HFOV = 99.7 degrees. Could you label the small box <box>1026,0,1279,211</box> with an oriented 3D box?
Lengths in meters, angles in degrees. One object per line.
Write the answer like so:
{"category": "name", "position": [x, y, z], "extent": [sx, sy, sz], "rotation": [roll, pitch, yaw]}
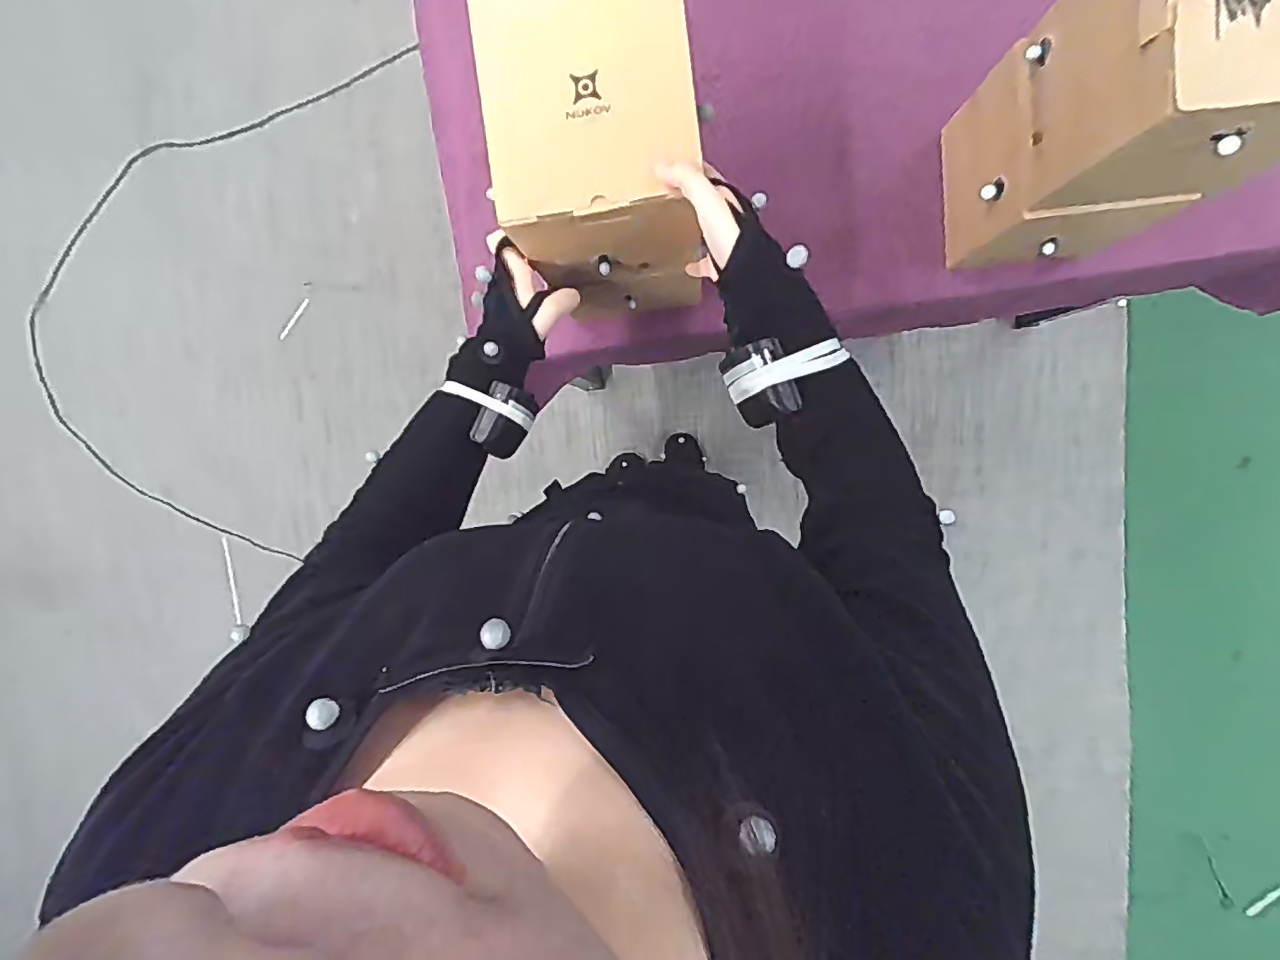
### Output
{"category": "small box", "position": [0.459, -0.344, 0.451], "extent": [0.179, 0.176, 0.168], "rotation": [-3, 95, 4]}

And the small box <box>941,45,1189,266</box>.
{"category": "small box", "position": [0.466, -0.356, 0.616], "extent": [0.168, 0.176, 0.179], "rotation": [-4, 95, 5]}
